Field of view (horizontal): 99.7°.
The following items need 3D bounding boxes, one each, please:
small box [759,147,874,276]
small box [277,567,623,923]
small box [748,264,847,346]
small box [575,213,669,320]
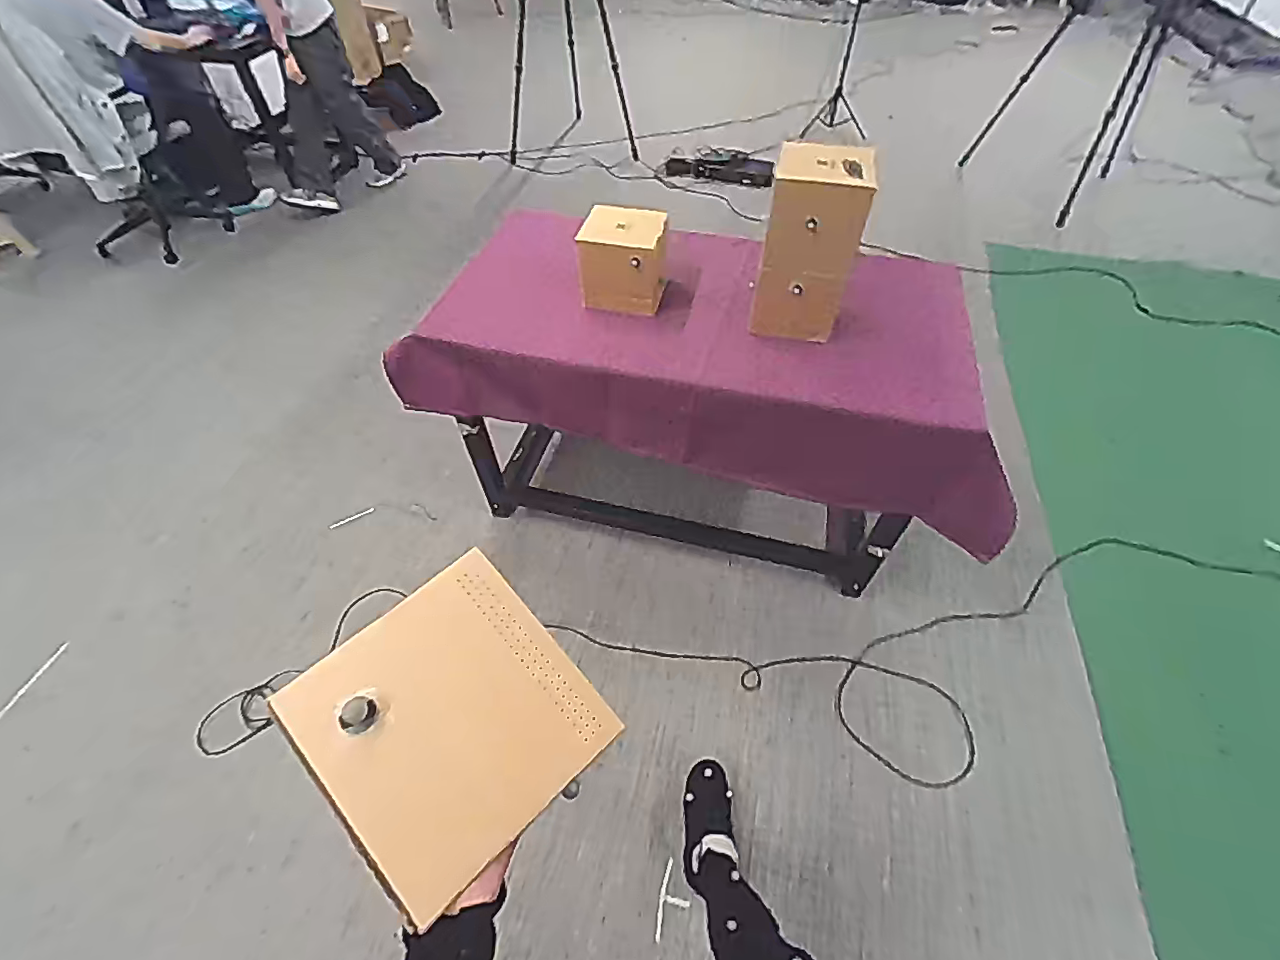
[{"bbox_3d":[0.339,-0.519,1.053,0.179,0.176,0.168,10,53,10],"label":"small box"},{"bbox_3d":[-0.139,0.191,0.444,0.176,0.168,0.179,-39,77,-22],"label":"small box"},{"bbox_3d":[0.341,-0.415,1.180,0.179,0.176,0.168,12,53,9],"label":"small box"},{"bbox_3d":[-0.037,-0.492,1.250,0.179,0.176,0.168,10,52,8],"label":"small box"}]
